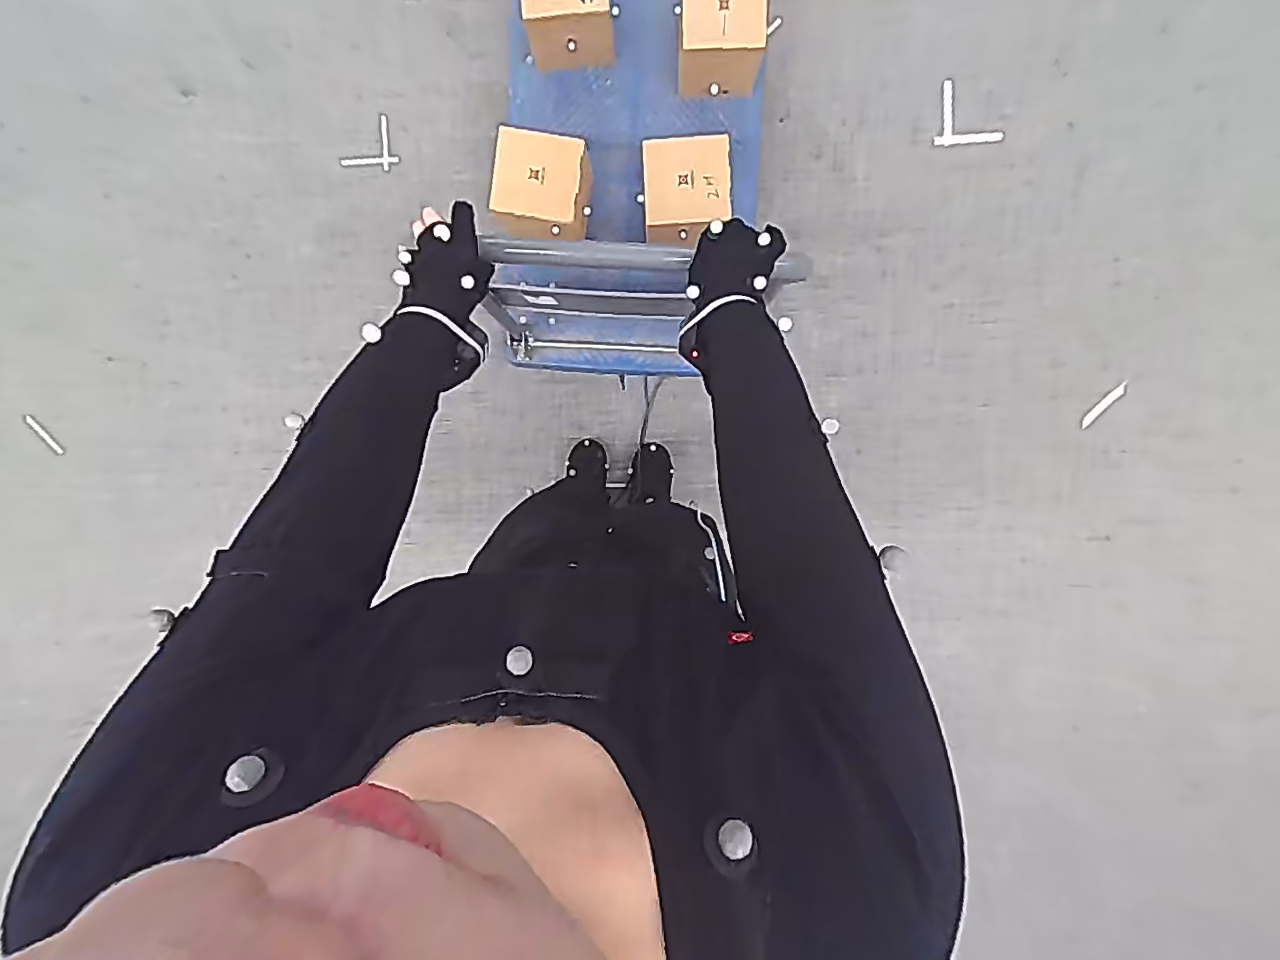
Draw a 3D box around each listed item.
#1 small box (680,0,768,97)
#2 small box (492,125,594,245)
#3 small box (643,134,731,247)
[{"bbox_3d":[0.170,-0.947,1.134,0.168,0.176,0.179,0,97,2],"label":"small box"},{"bbox_3d":[-0.204,-0.631,1.177,0.179,0.176,0.168,9,96,-1],"label":"small box"},{"bbox_3d":[0.099,-0.616,1.171,0.179,0.176,0.168,-2,96,1],"label":"small box"}]
